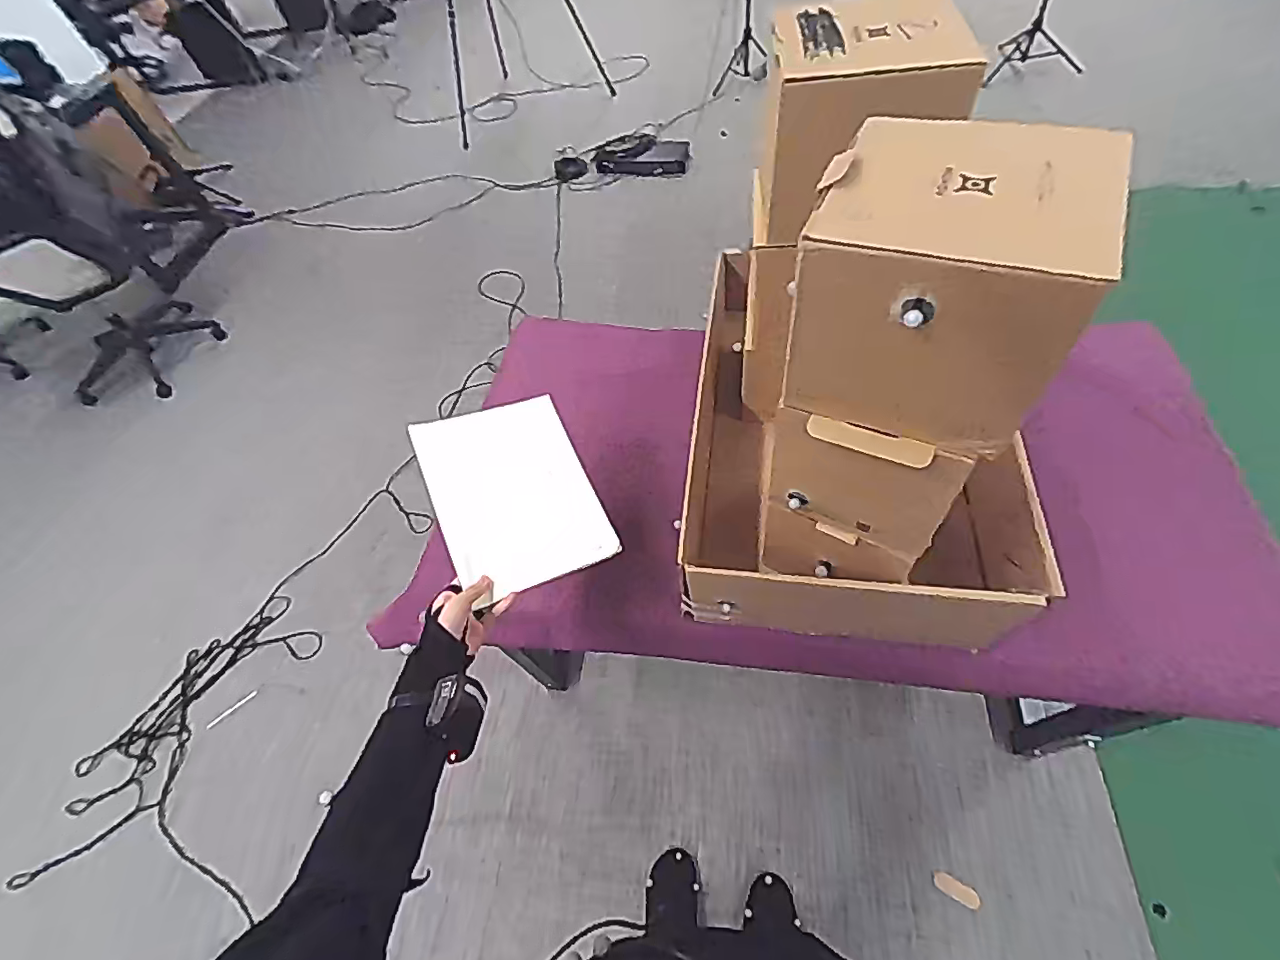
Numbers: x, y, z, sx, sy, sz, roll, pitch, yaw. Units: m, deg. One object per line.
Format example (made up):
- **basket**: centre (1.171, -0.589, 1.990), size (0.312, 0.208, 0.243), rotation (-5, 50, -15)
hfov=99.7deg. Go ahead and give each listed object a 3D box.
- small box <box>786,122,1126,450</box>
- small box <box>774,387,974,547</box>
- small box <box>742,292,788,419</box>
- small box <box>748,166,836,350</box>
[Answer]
- **small box**: centre (0.224, -0.147, 0.422), size (0.179, 0.176, 0.168), rotation (19, 61, 22)
- **small box**: centre (0.246, -0.058, 0.556), size (0.168, 0.176, 0.179), rotation (21, 61, 23)
- **small box**: centre (0.251, -0.205, 0.858), size (0.168, 0.176, 0.179), rotation (4, 59, 11)
- **small box**: centre (0.235, -0.289, 0.720), size (0.179, 0.176, 0.168), rotation (1, 58, 10)
